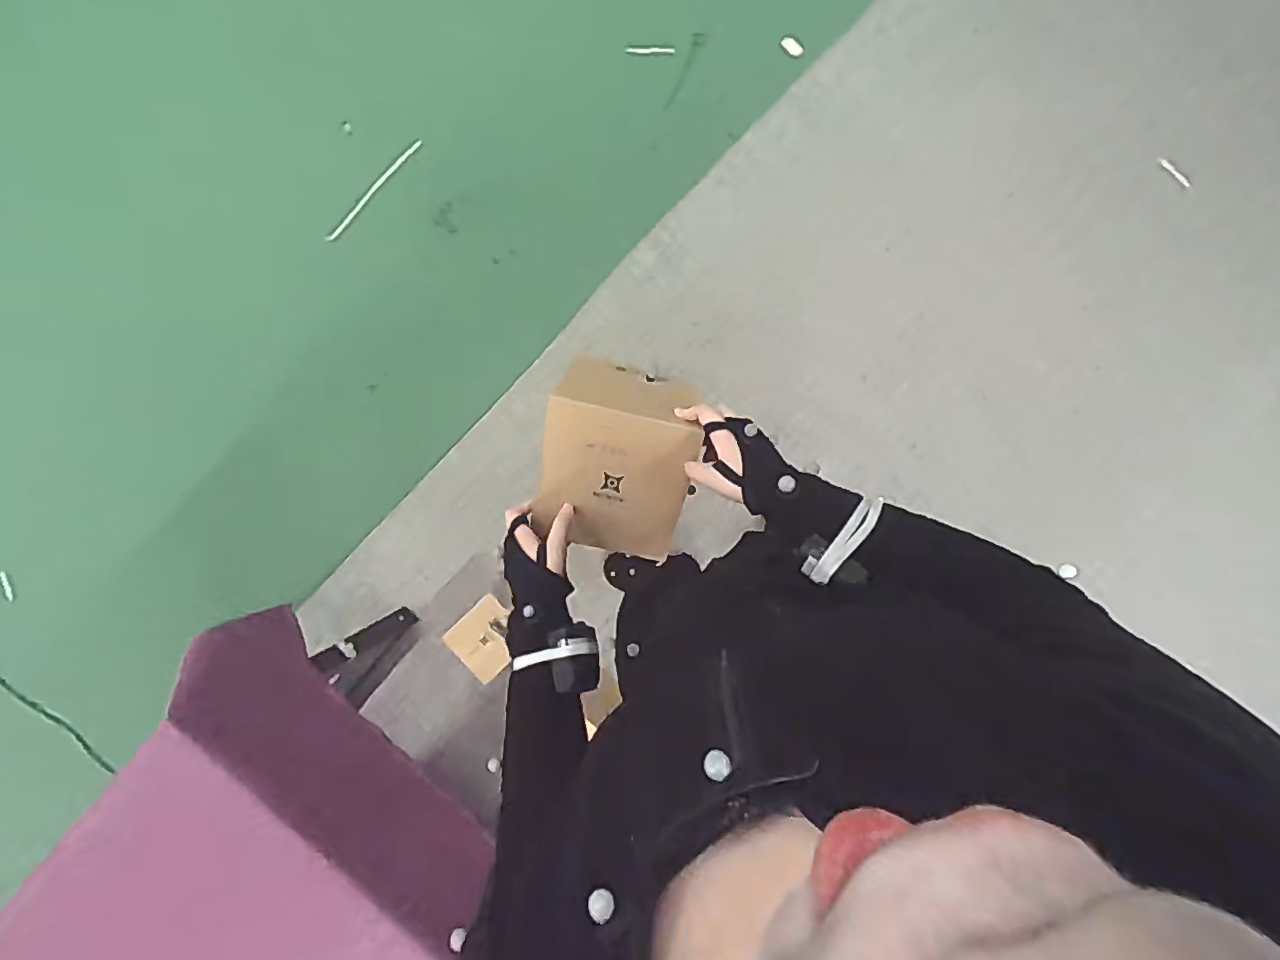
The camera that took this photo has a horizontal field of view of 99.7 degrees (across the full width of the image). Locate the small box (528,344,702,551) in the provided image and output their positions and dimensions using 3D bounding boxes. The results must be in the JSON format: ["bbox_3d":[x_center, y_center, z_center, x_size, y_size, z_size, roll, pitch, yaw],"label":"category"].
[{"bbox_3d":[-0.026,-0.046,0.665,0.168,0.176,0.179,15,119,-4],"label":"small box"}]

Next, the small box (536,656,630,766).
[{"bbox_3d":[-0.141,0.602,1.432,0.179,0.176,0.168,42,93,1],"label":"small box"}]
